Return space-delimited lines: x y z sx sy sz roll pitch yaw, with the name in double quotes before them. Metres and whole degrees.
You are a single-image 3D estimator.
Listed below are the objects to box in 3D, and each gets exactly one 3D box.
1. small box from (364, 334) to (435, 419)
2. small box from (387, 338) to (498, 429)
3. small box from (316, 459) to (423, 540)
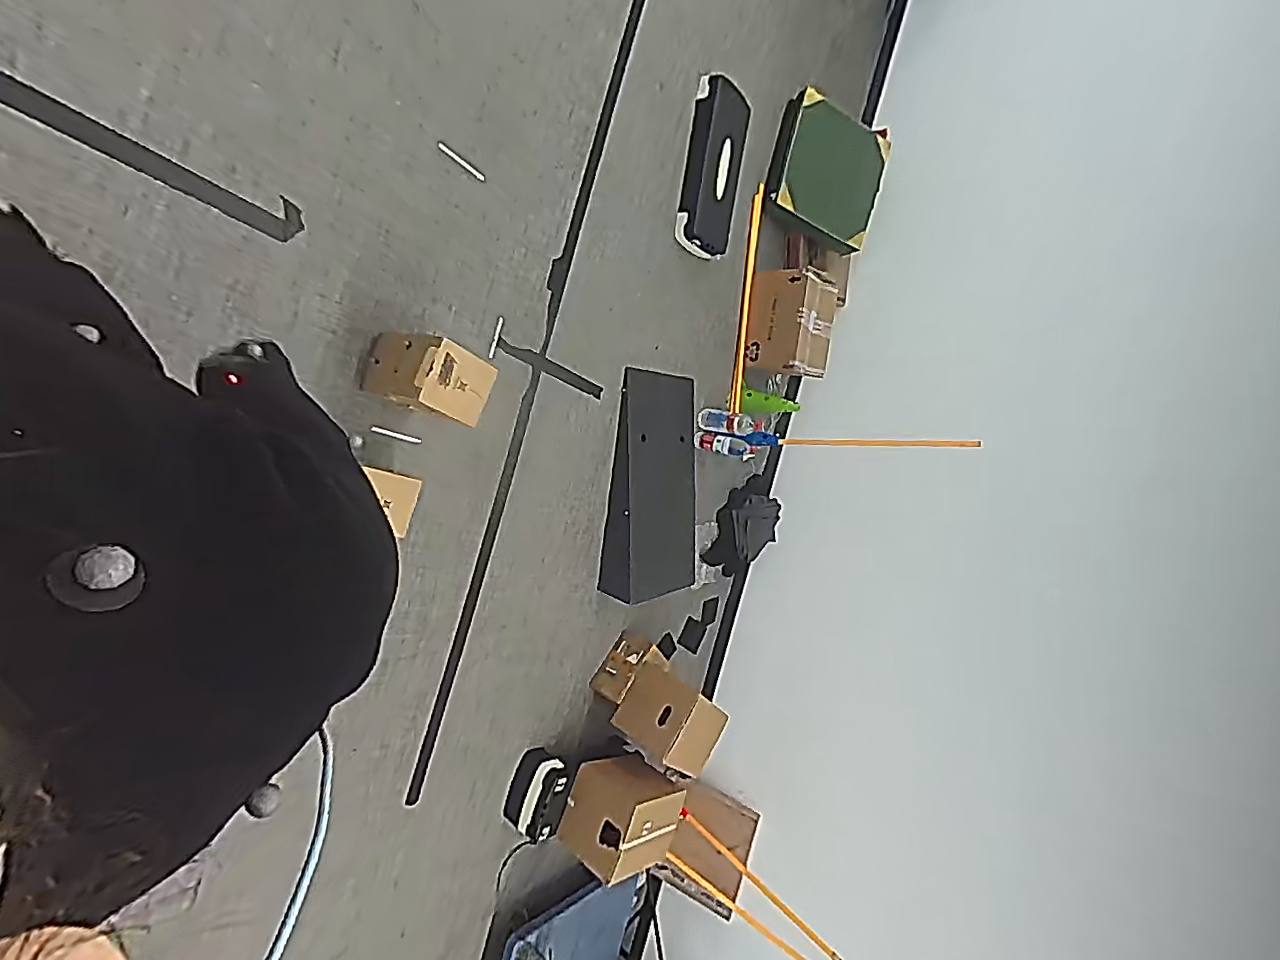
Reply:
"small box" -0.622 -0.282 1.470 0.168 0.176 0.179 21 86 -52
"small box" -0.501 -0.245 1.364 0.179 0.176 0.168 29 79 -52
"small box" -0.726 0.050 1.451 0.179 0.176 0.168 21 85 -52
